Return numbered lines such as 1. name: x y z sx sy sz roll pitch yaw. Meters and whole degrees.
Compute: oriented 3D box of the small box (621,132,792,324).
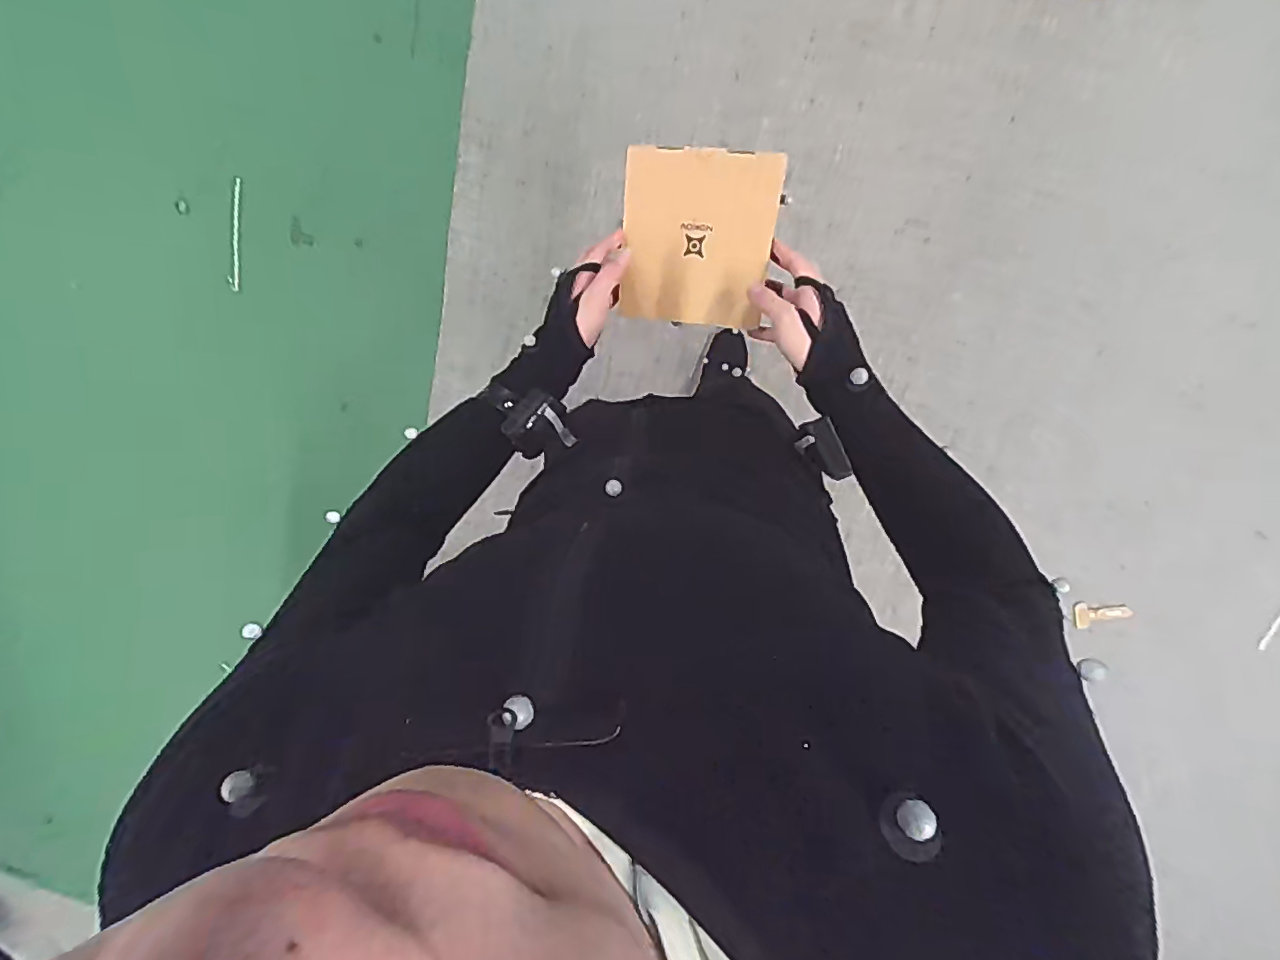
1. small box: 0.080 -0.293 0.641 0.168 0.176 0.179 9 114 9
